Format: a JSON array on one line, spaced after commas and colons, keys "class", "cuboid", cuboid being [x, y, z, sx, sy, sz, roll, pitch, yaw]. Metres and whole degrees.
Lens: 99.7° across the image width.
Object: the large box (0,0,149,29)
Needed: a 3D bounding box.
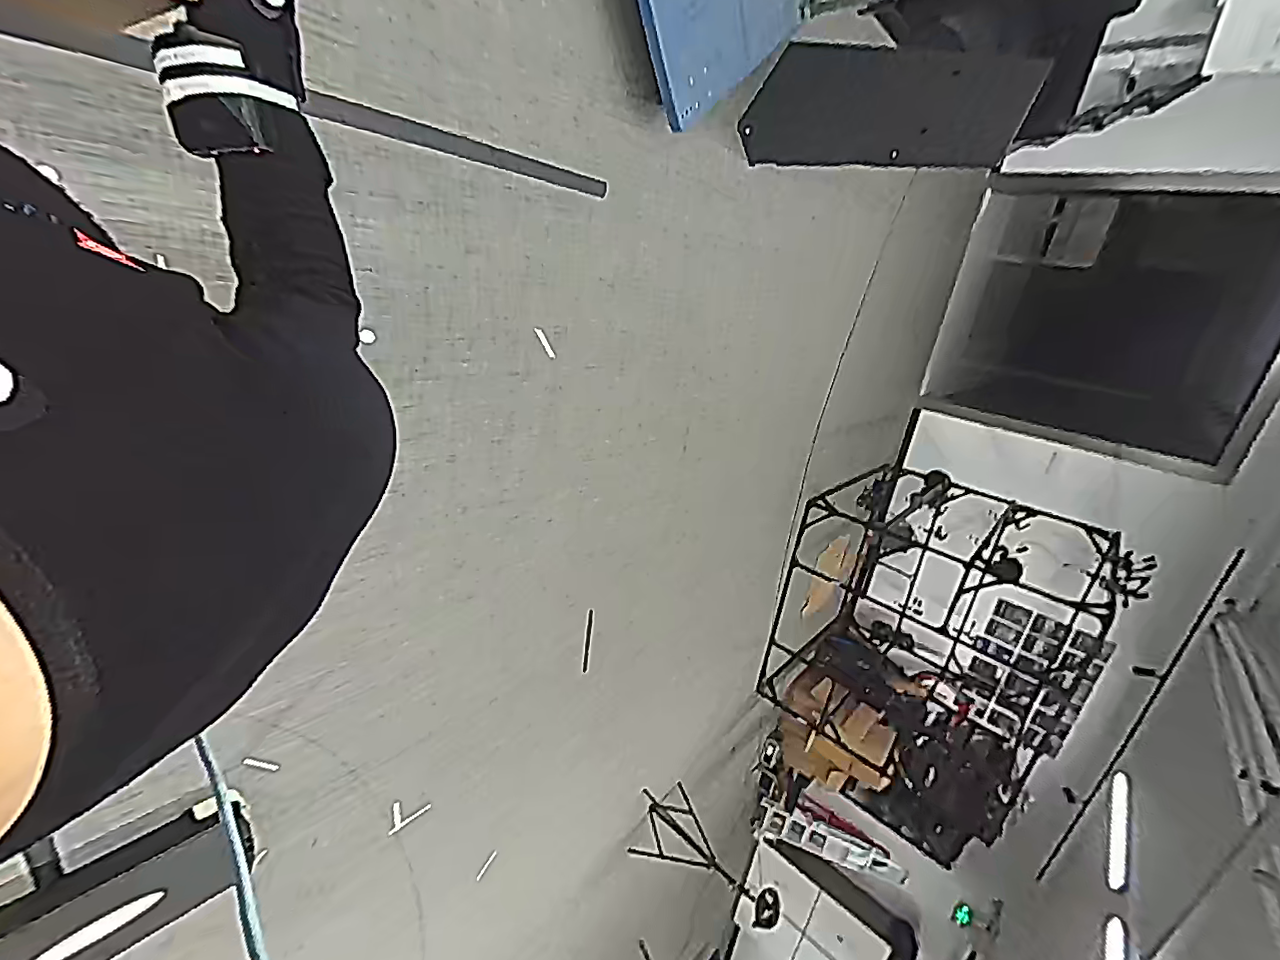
[{"class": "large box", "cuboid": [-0.504, -0.467, 0.226, 0.408, 0.320, 0.320, -18, 126, -48]}]
